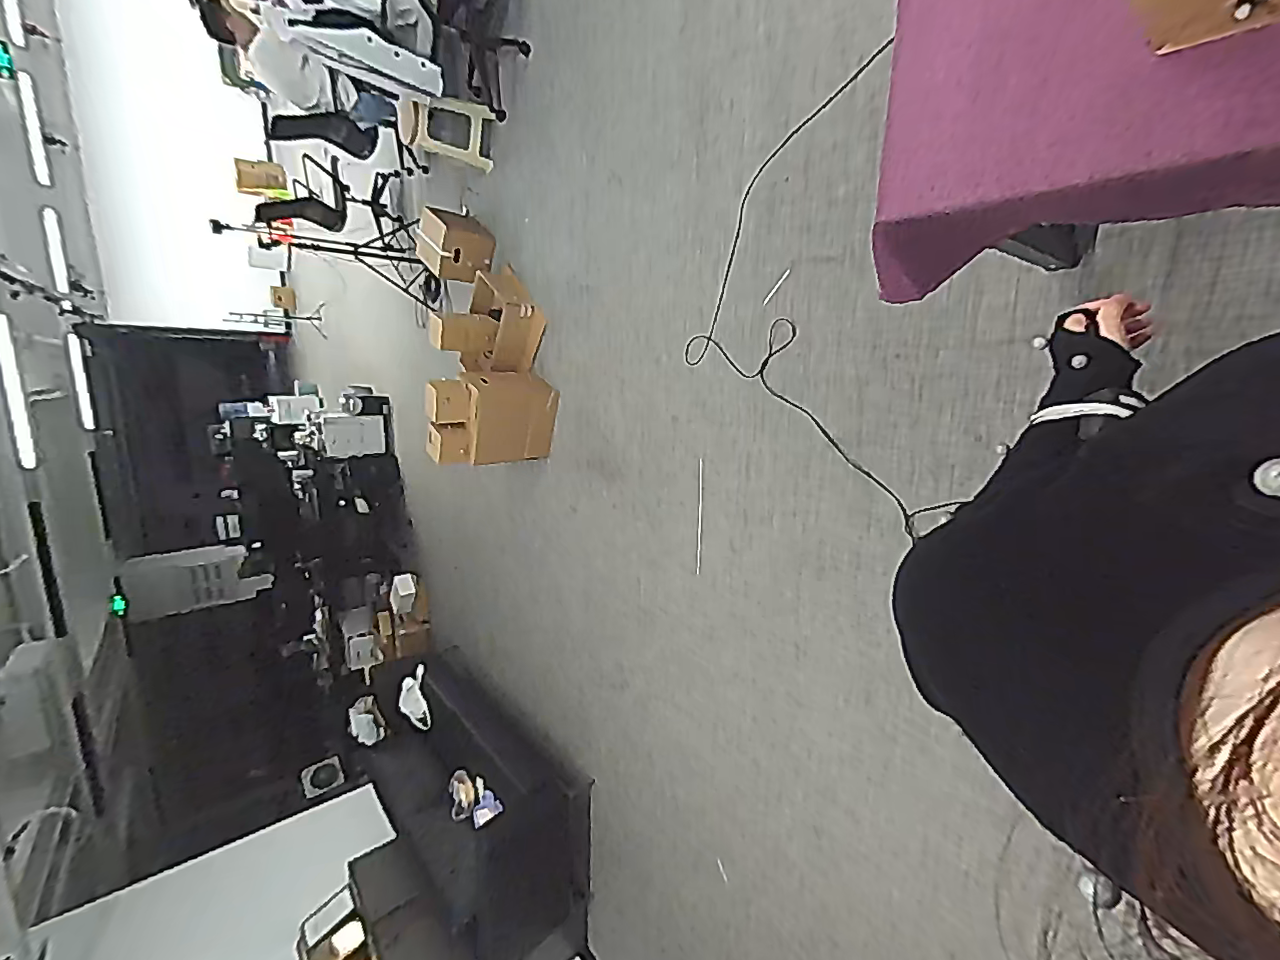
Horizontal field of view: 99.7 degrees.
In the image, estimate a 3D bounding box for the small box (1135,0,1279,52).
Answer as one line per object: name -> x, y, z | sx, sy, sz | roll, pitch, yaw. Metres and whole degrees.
small box -> 0.538, -0.512, 0.450 | 0.168, 0.176, 0.179 | 18, 110, 48
